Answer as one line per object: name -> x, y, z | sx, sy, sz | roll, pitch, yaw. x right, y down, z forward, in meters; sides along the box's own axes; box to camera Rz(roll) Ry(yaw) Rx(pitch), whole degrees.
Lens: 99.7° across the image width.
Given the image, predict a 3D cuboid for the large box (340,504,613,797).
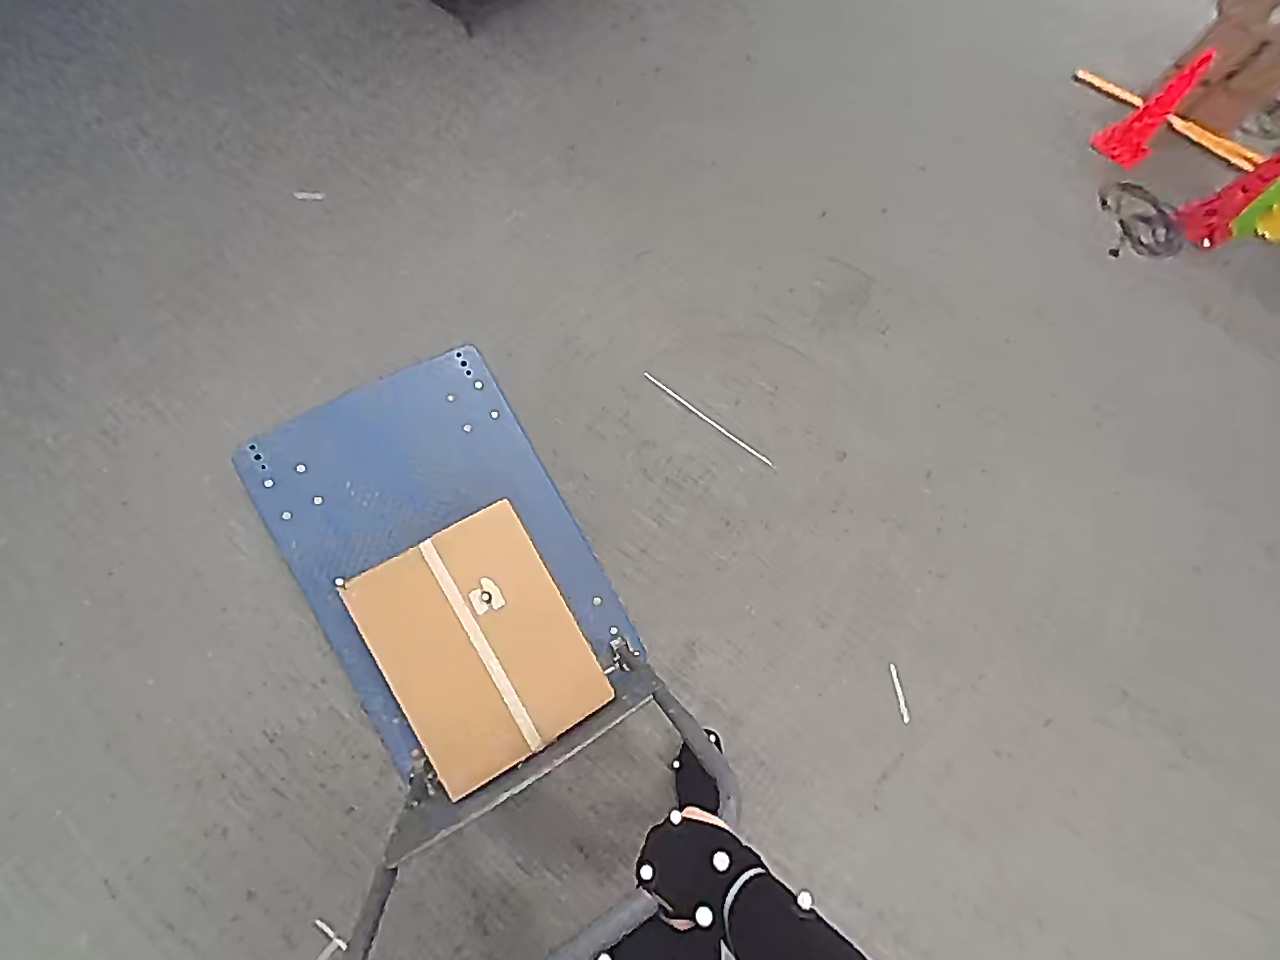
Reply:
large box -> -0.298, 0.305, 1.072 | 0.320, 0.320, 0.408 | -30, 88, -14
